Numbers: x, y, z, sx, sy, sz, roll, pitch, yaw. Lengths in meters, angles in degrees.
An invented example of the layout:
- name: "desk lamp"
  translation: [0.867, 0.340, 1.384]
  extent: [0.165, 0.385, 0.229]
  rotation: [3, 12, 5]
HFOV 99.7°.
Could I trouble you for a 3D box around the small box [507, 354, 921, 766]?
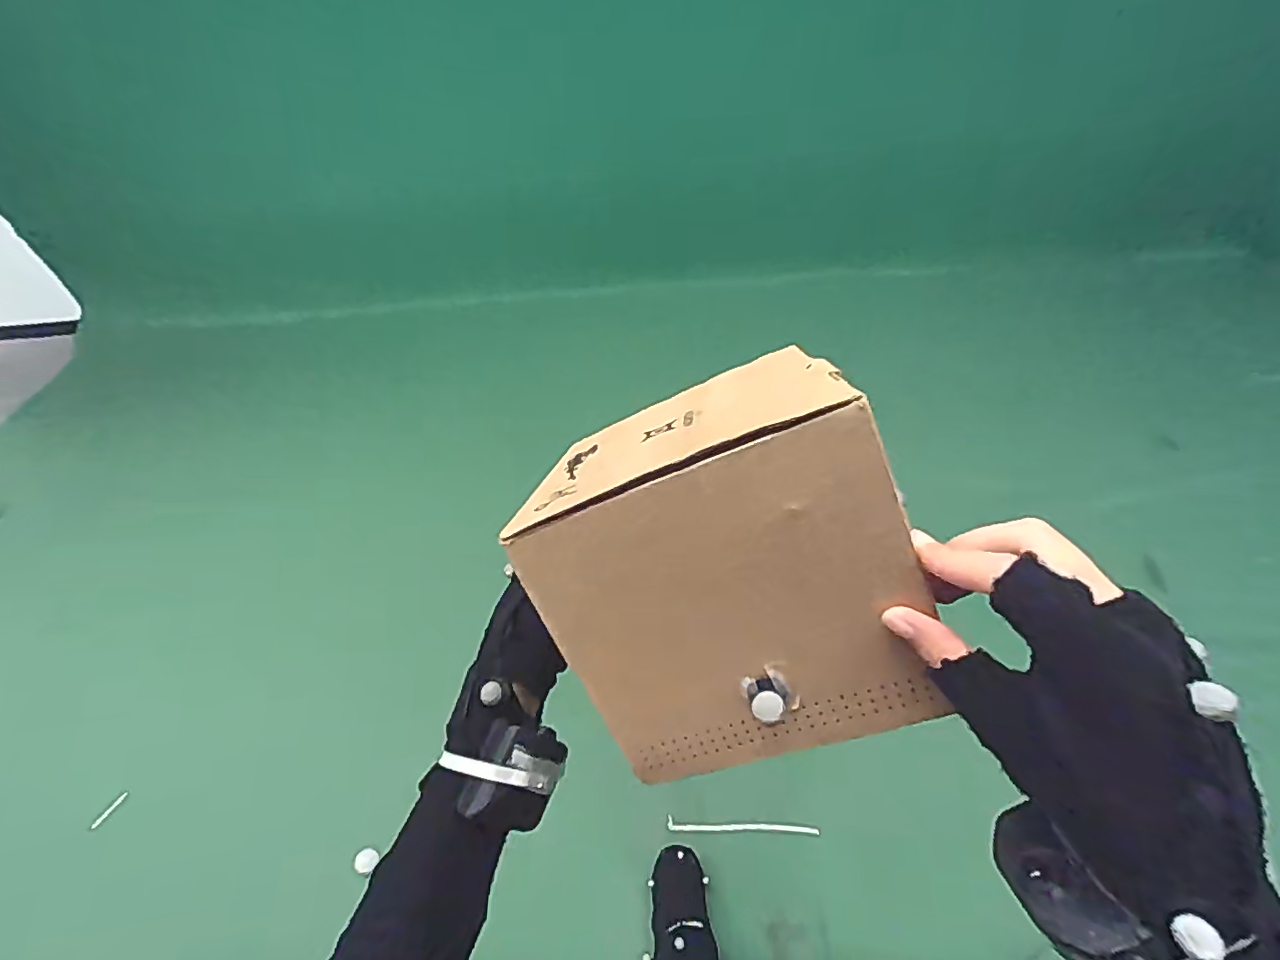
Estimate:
- name: "small box"
  translation: [0.054, 0.042, 0.342]
  extent: [0.179, 0.176, 0.168]
  rotation: [-22, 16, 14]
